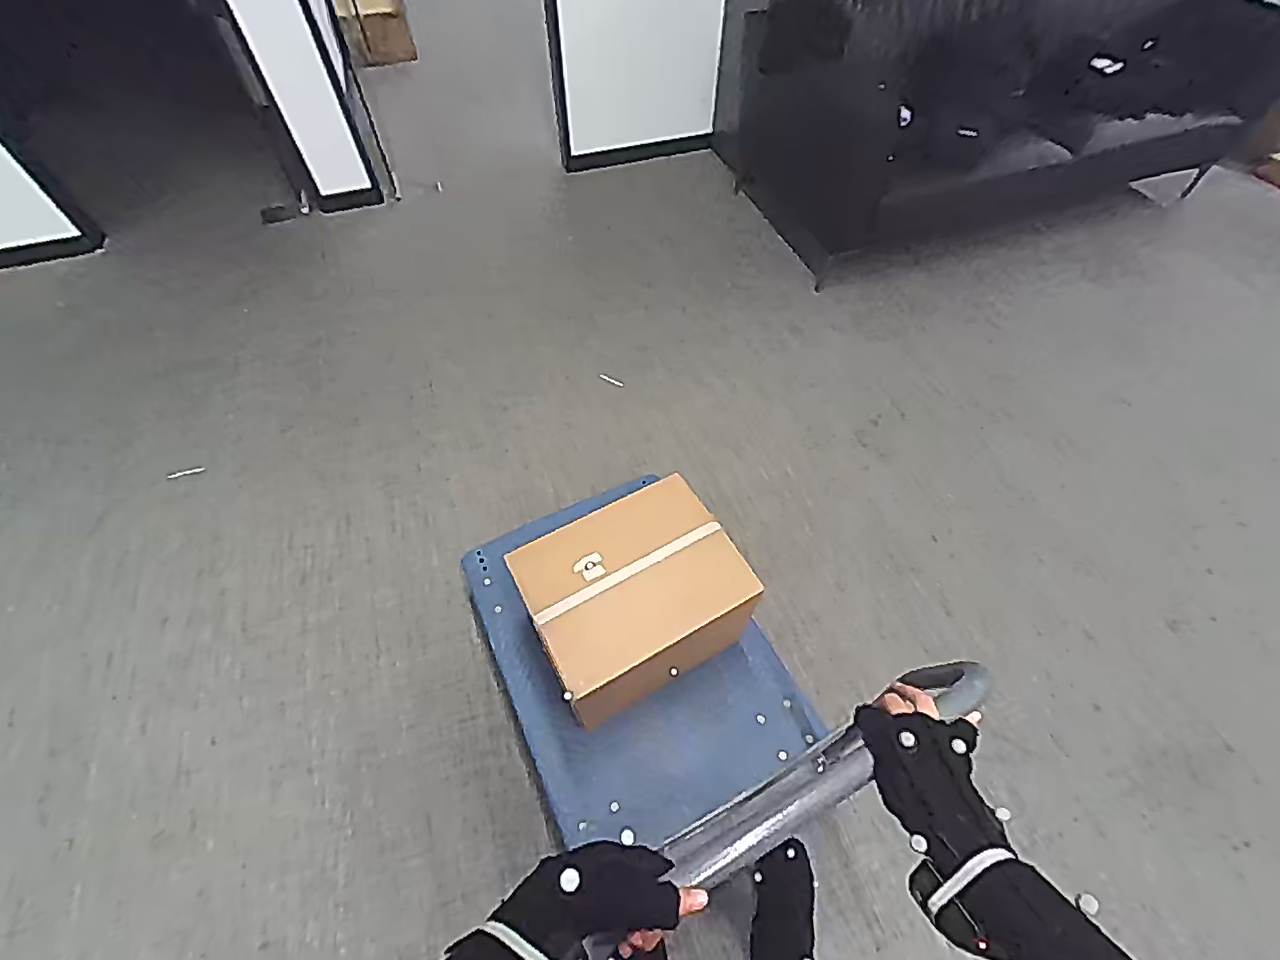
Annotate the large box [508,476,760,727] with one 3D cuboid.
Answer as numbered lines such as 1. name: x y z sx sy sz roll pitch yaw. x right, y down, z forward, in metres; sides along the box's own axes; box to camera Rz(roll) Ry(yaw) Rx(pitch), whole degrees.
1. large box: -0.015 0.264 1.163 0.408 0.320 0.320 -26 60 -17
